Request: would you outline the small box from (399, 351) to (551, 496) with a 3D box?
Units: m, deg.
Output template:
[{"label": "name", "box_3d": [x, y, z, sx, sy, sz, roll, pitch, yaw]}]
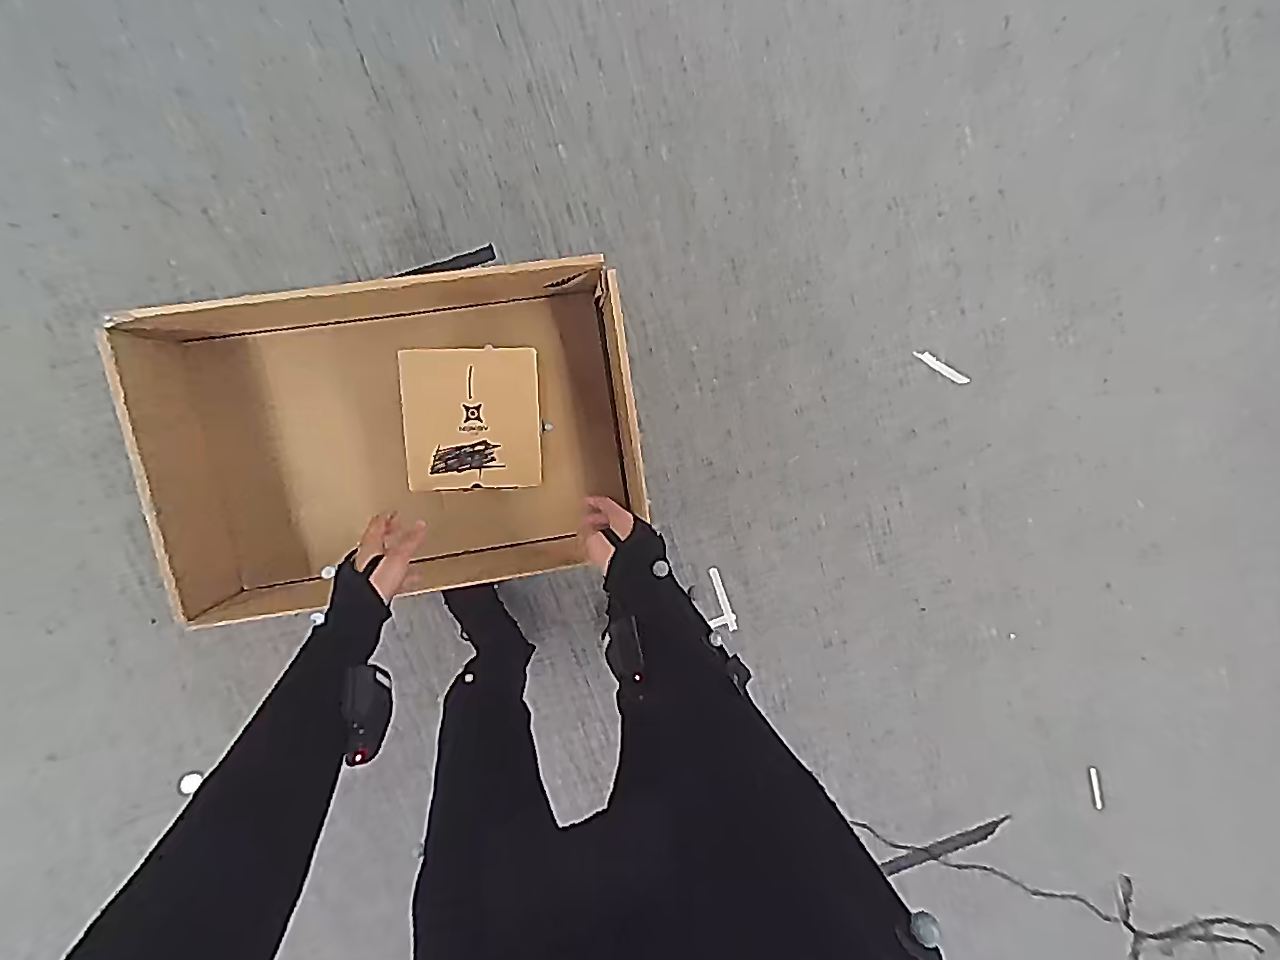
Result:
[{"label": "small box", "box_3d": [-0.212, -0.080, 0.739, 0.168, 0.176, 0.179, -2, 97, -6]}]
